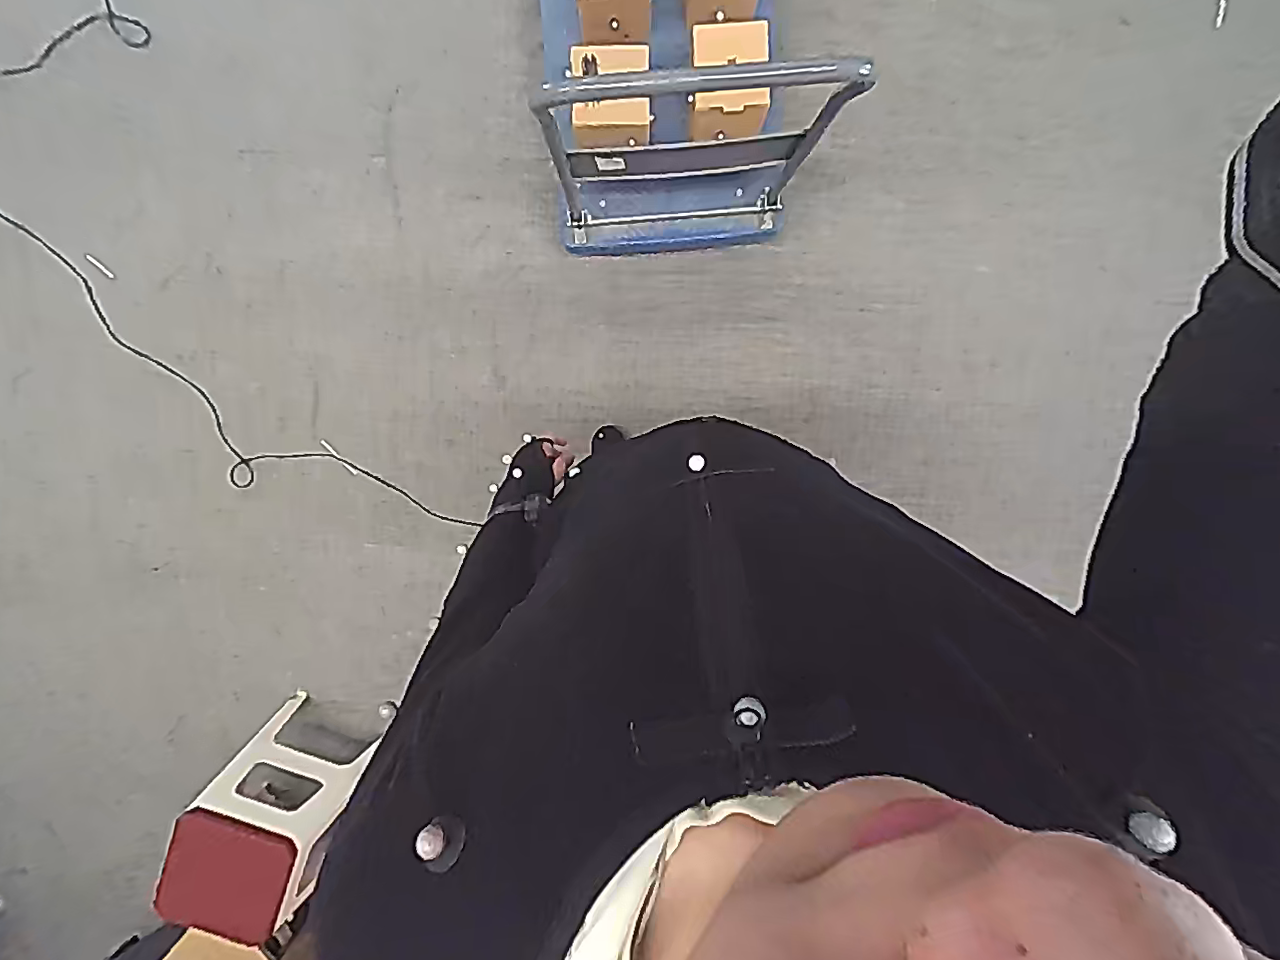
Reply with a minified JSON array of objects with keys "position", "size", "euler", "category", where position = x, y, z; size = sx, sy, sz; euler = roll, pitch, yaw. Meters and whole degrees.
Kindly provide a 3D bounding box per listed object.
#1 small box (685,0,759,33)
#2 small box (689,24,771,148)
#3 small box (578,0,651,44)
[{"position":[0.186,-1.185,1.240],"size":[0.168,0.176,0.179],"euler":[-7,97,3],"category":"small box"},{"position":[0.206,-0.918,1.271],"size":[0.168,0.176,0.179],"euler":[-3,97,1],"category":"small box"},{"position":[-0.063,-1.150,1.248],"size":[0.168,0.176,0.179],"euler":[-8,96,1],"category":"small box"}]
